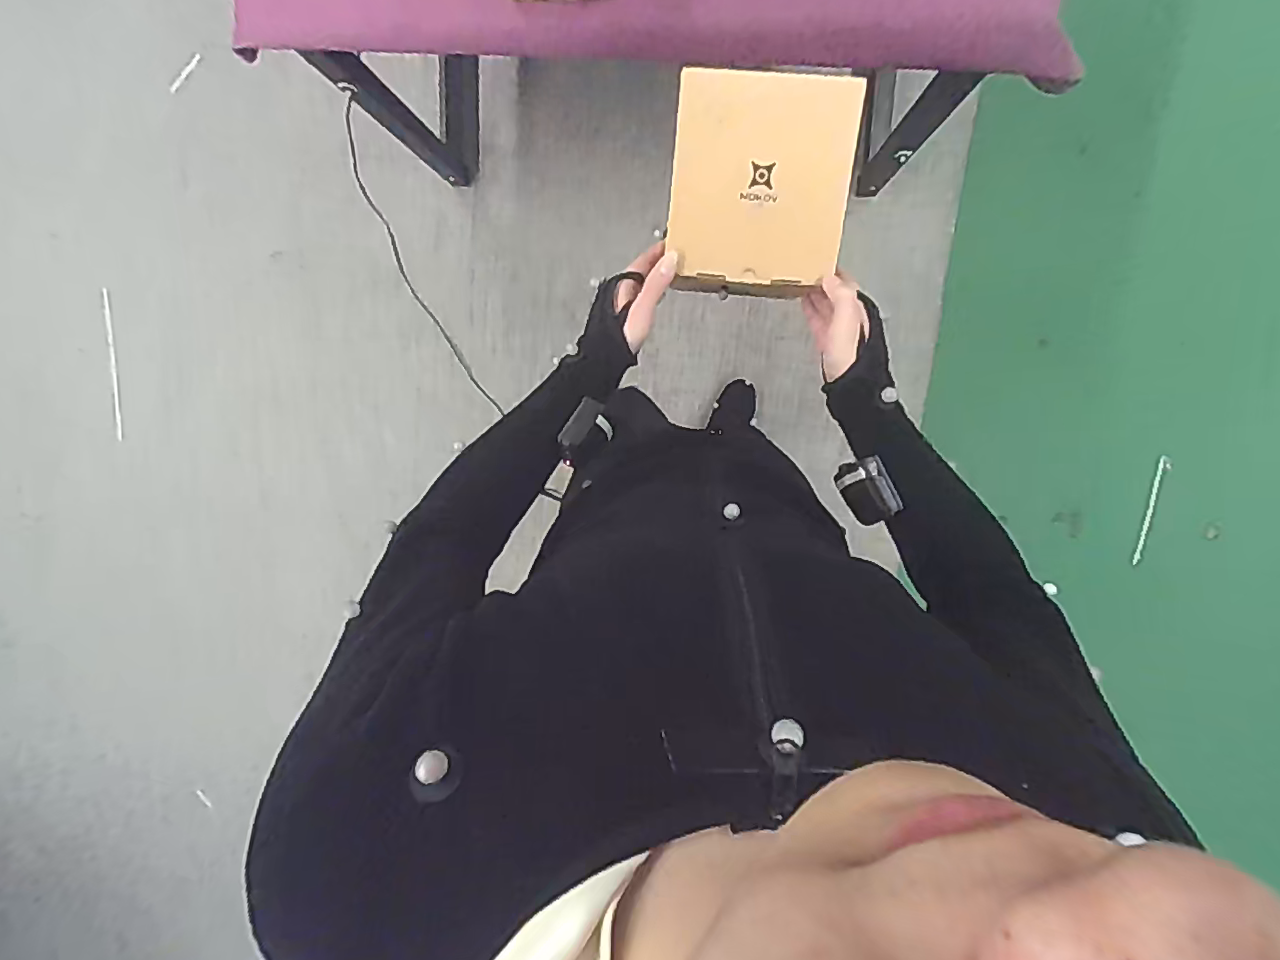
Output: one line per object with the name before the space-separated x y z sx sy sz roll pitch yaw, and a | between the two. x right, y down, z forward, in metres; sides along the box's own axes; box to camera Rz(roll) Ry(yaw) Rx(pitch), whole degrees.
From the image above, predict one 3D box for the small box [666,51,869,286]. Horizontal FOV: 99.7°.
small box | 0.117 -0.310 0.575 0.168 0.176 0.179 5 107 1
